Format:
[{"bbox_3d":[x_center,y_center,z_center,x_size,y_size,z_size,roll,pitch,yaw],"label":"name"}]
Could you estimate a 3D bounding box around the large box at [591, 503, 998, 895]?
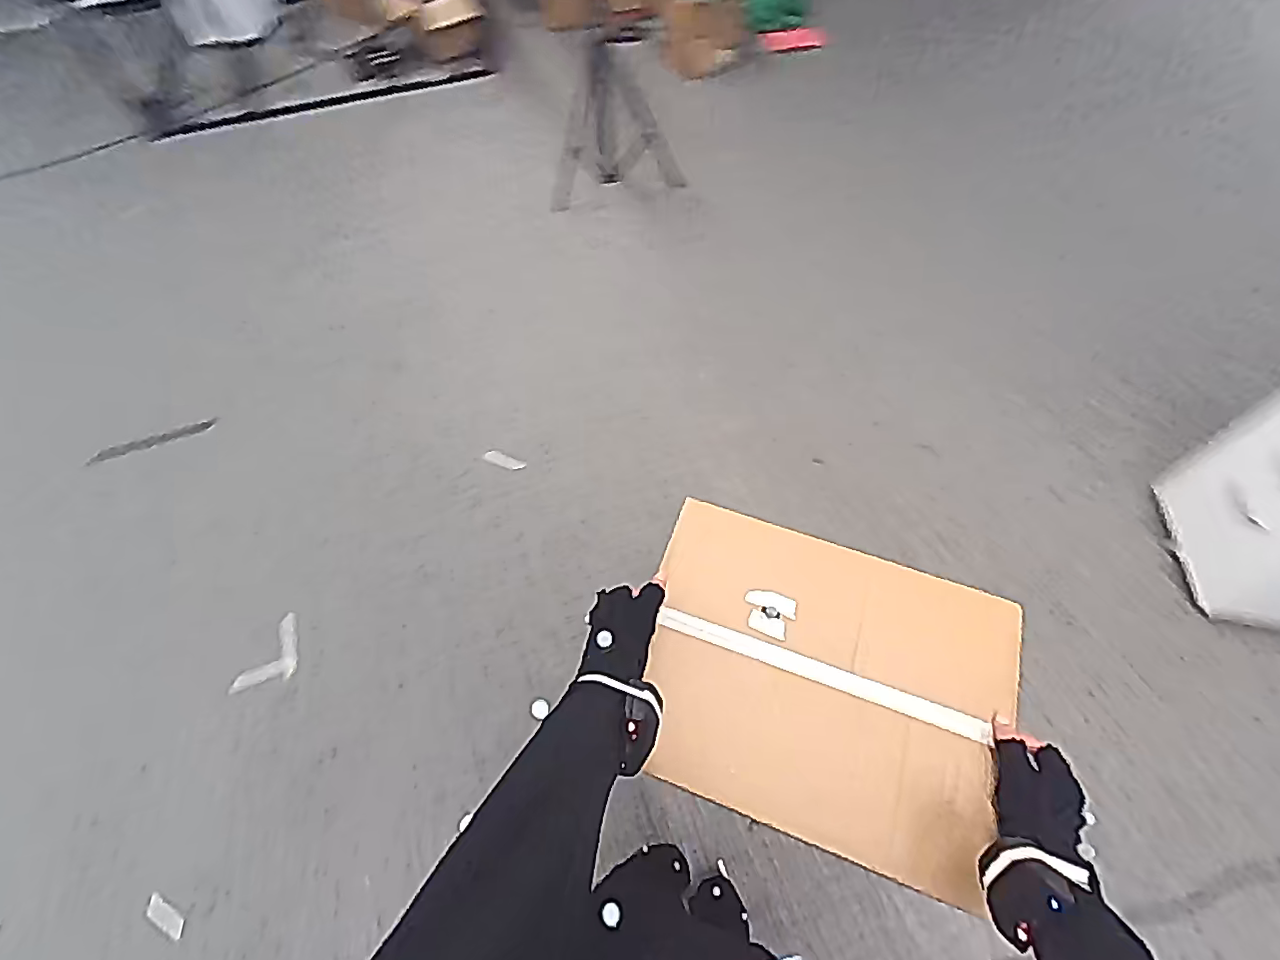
[{"bbox_3d":[0.192,0.277,0.736,0.408,0.320,0.320,17,64,12],"label":"large box"}]
